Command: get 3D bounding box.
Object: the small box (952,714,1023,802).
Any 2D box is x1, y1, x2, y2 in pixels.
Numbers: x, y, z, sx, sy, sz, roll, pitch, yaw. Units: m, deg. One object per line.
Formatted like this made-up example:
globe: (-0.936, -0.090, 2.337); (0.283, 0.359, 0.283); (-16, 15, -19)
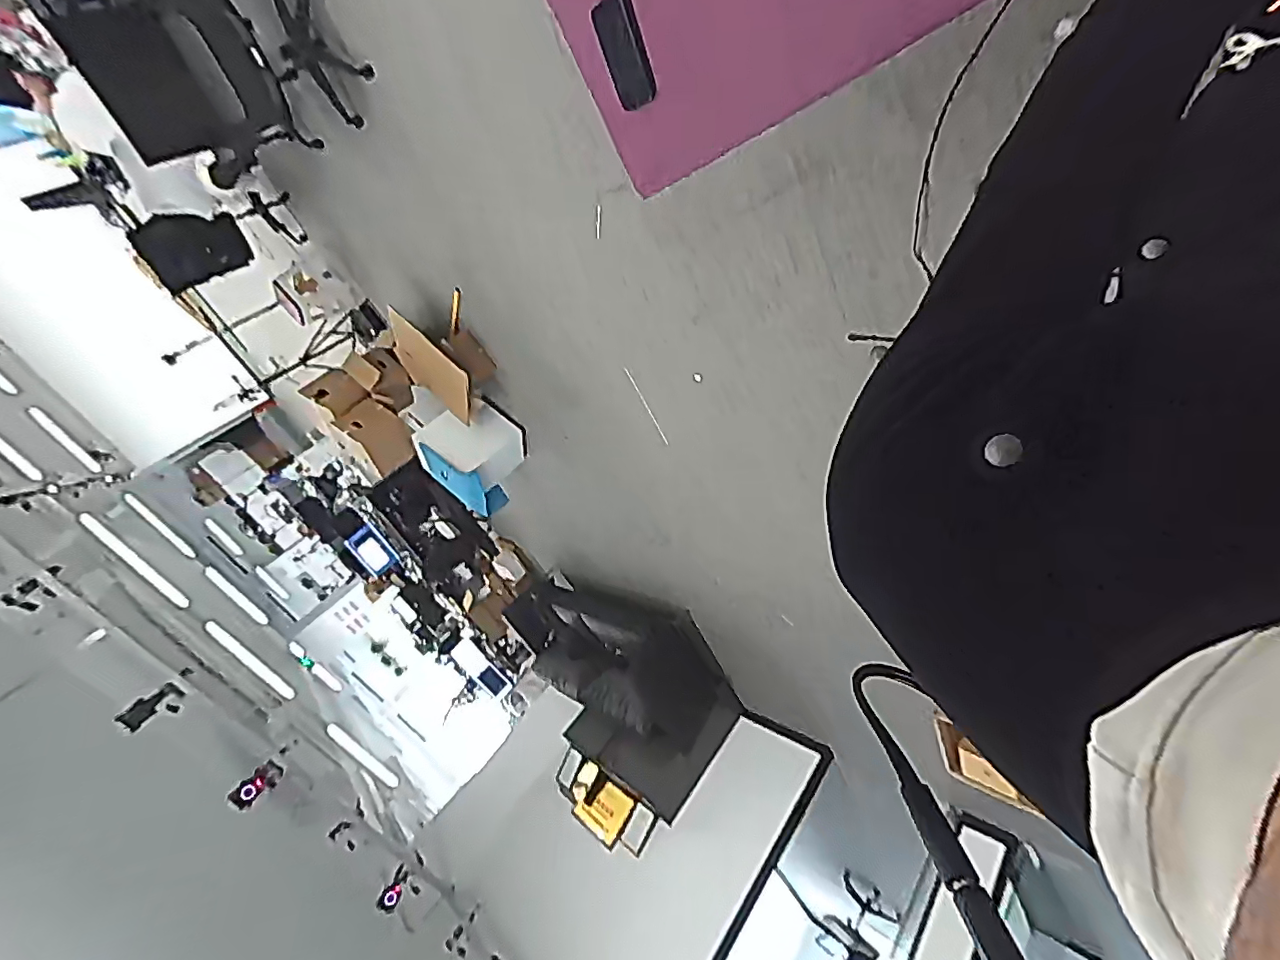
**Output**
small box: (1.203, 0.954, 1.865); (0.168, 0.176, 0.179); (11, 135, 47)
